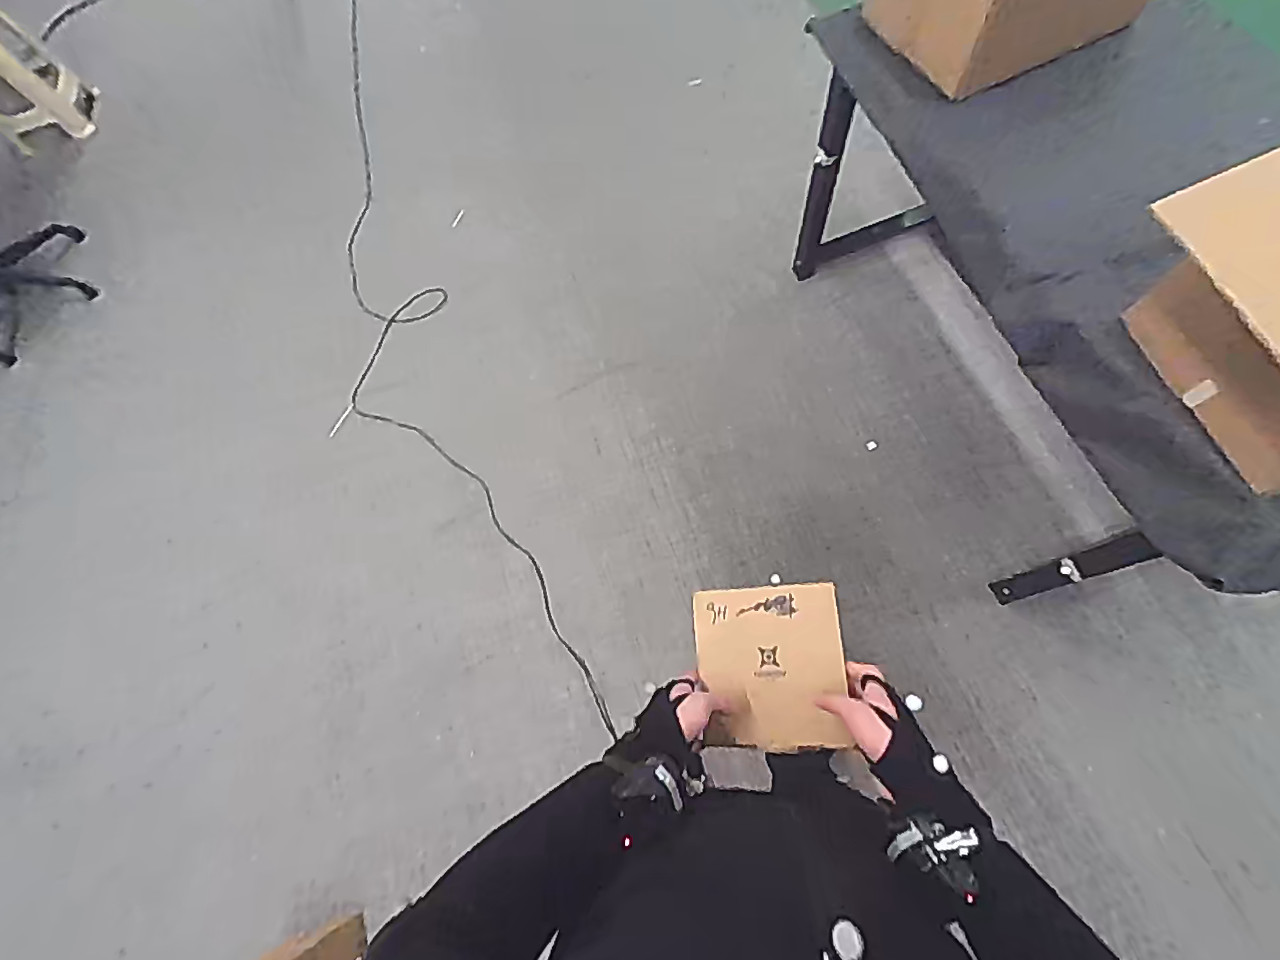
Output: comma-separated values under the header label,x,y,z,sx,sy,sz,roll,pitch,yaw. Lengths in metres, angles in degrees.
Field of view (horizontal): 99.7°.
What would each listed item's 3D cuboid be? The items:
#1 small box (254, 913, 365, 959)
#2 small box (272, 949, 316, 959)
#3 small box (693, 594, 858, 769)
label,x,y,z,sx,sy,sz,roll,pitch,yaw
small box,-0.724,1.087,1.167,0.179,0.176,0.168,-20,70,-2
small box,-0.736,1.033,1.015,0.179,0.176,0.168,-19,68,1
small box,0.167,0.236,0.668,0.168,0.176,0.179,-7,77,15
